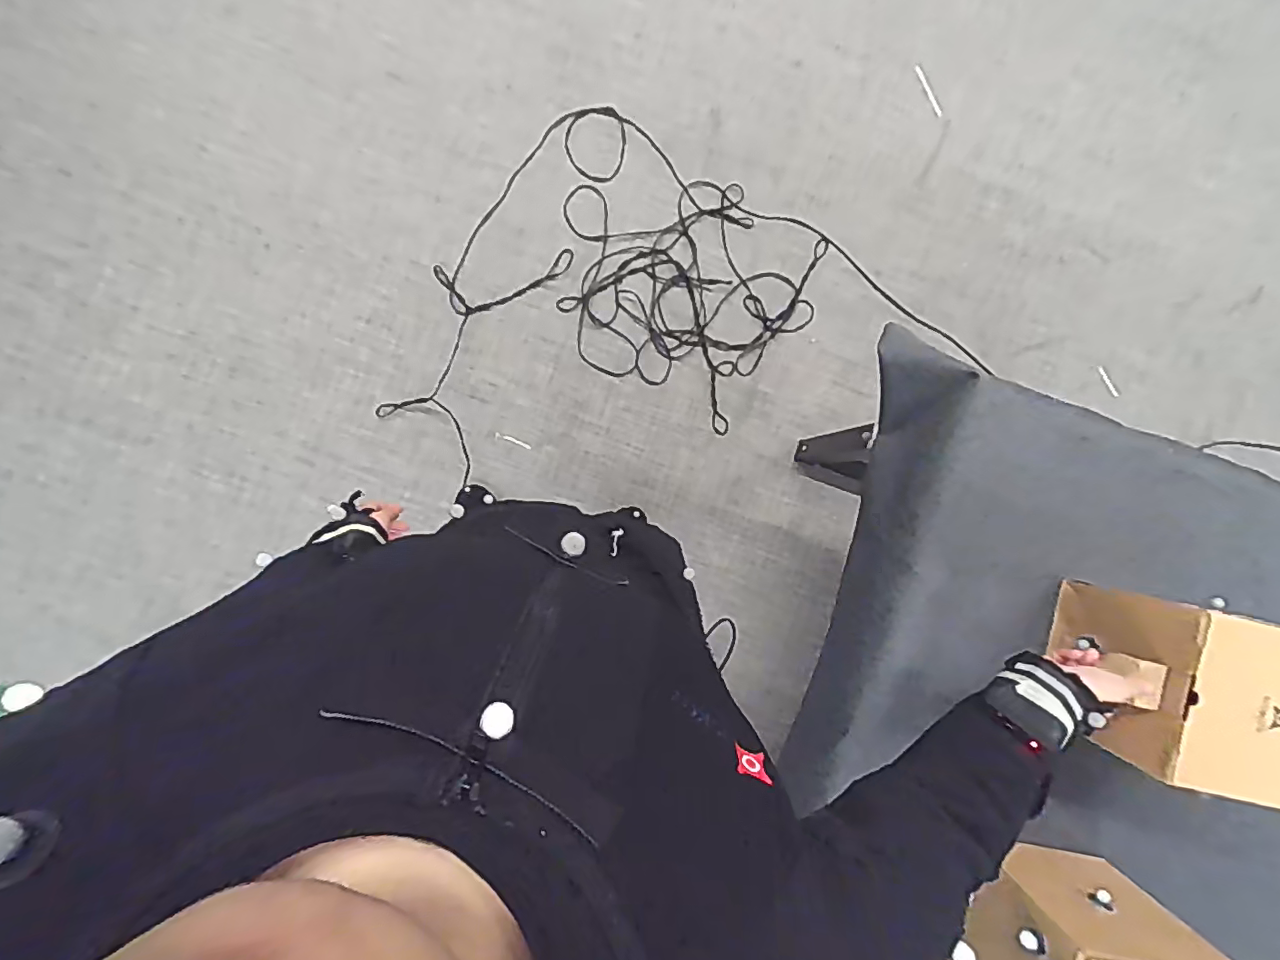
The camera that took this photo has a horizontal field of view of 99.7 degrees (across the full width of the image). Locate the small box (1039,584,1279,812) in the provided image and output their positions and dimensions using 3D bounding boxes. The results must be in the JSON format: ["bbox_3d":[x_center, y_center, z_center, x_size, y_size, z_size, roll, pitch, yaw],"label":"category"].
[{"bbox_3d":[0.583,0.219,0.574,0.179,0.176,0.168,12,90,-1],"label":"small box"}]
